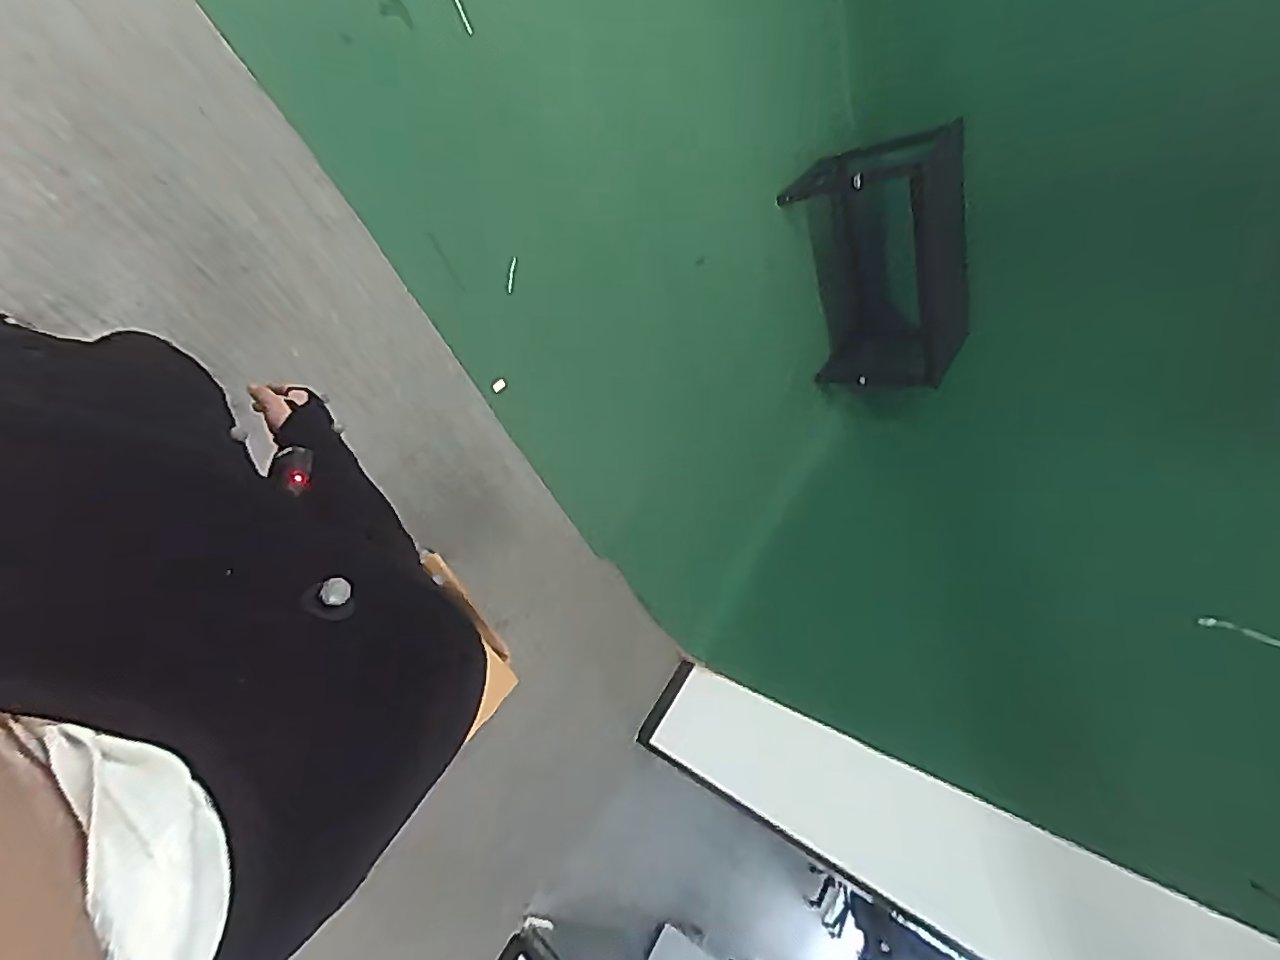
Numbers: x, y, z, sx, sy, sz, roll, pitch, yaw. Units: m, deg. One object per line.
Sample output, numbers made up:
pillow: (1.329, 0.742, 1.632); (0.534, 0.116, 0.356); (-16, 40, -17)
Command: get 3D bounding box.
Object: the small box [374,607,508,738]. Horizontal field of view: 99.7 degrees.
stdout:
small box: (-0.421, 0.399, 1.145); (0.168, 0.176, 0.179); (-47, 130, -30)
